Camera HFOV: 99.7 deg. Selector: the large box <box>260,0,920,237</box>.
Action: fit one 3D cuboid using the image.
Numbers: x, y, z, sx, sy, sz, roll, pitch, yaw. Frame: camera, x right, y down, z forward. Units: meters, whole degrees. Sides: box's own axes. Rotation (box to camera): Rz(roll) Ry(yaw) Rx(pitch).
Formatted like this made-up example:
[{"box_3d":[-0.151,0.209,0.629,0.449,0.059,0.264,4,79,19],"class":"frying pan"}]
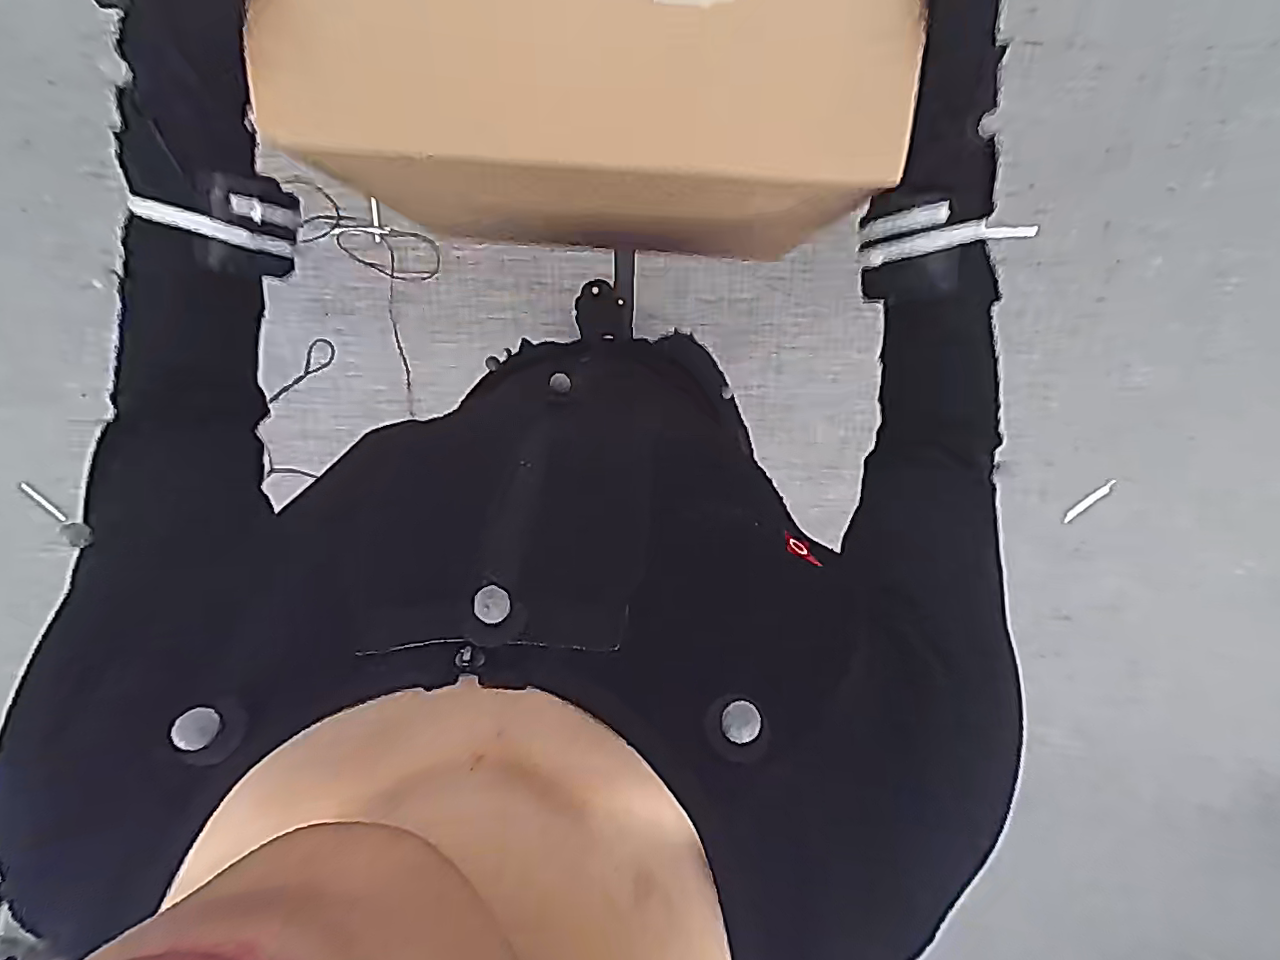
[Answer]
[{"box_3d":[-0.027,-0.404,0.450,0.408,0.320,0.320,3,104,-1],"class":"large box"}]
